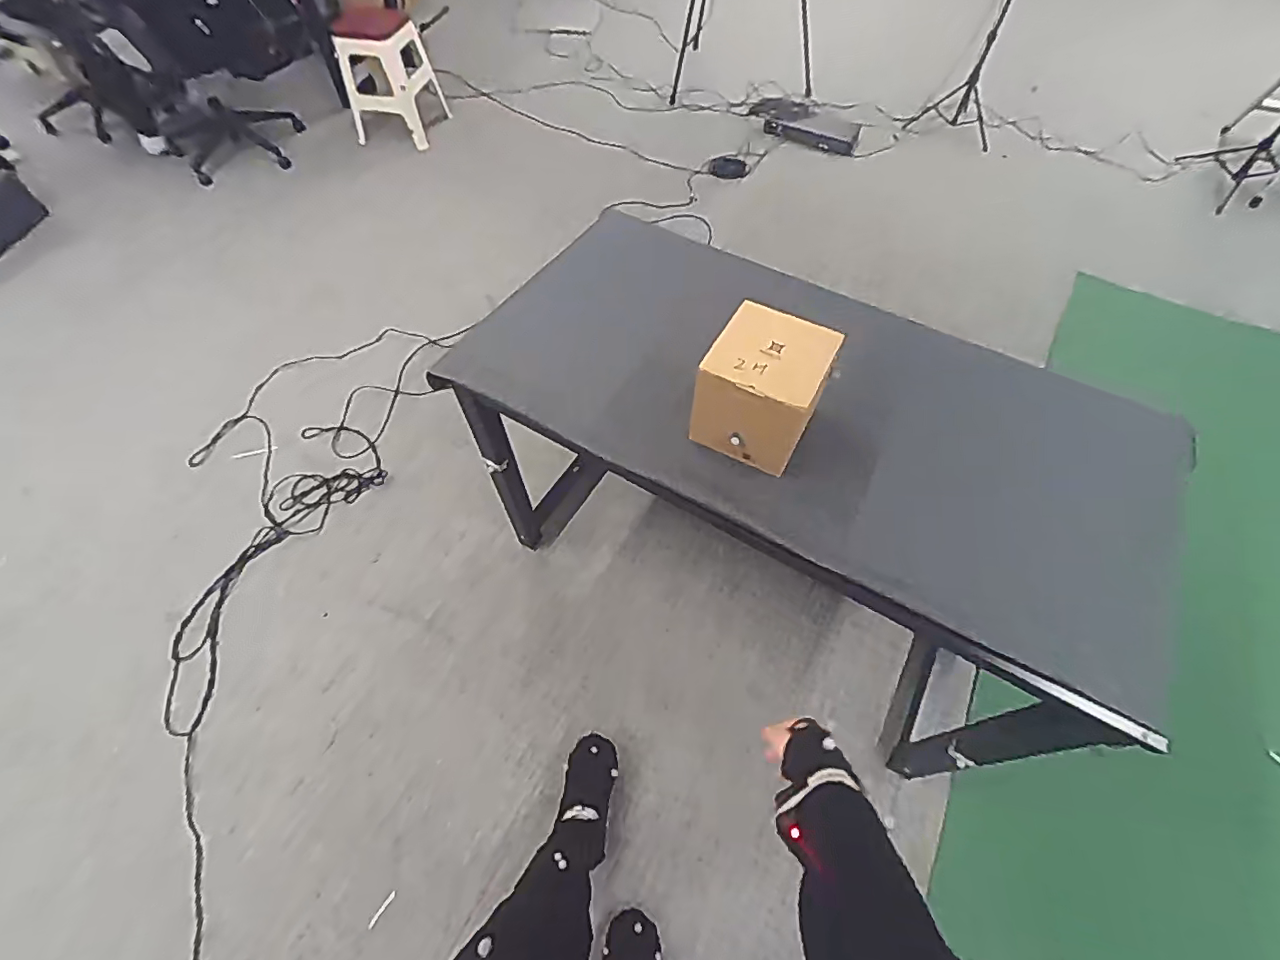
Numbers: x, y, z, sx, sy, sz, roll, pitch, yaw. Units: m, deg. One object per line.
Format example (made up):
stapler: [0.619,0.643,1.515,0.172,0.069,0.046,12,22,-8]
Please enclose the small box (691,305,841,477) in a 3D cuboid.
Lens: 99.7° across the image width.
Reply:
small box: [0.191,-0.139,0.862,0.168,0.176,0.179,26,60,15]
